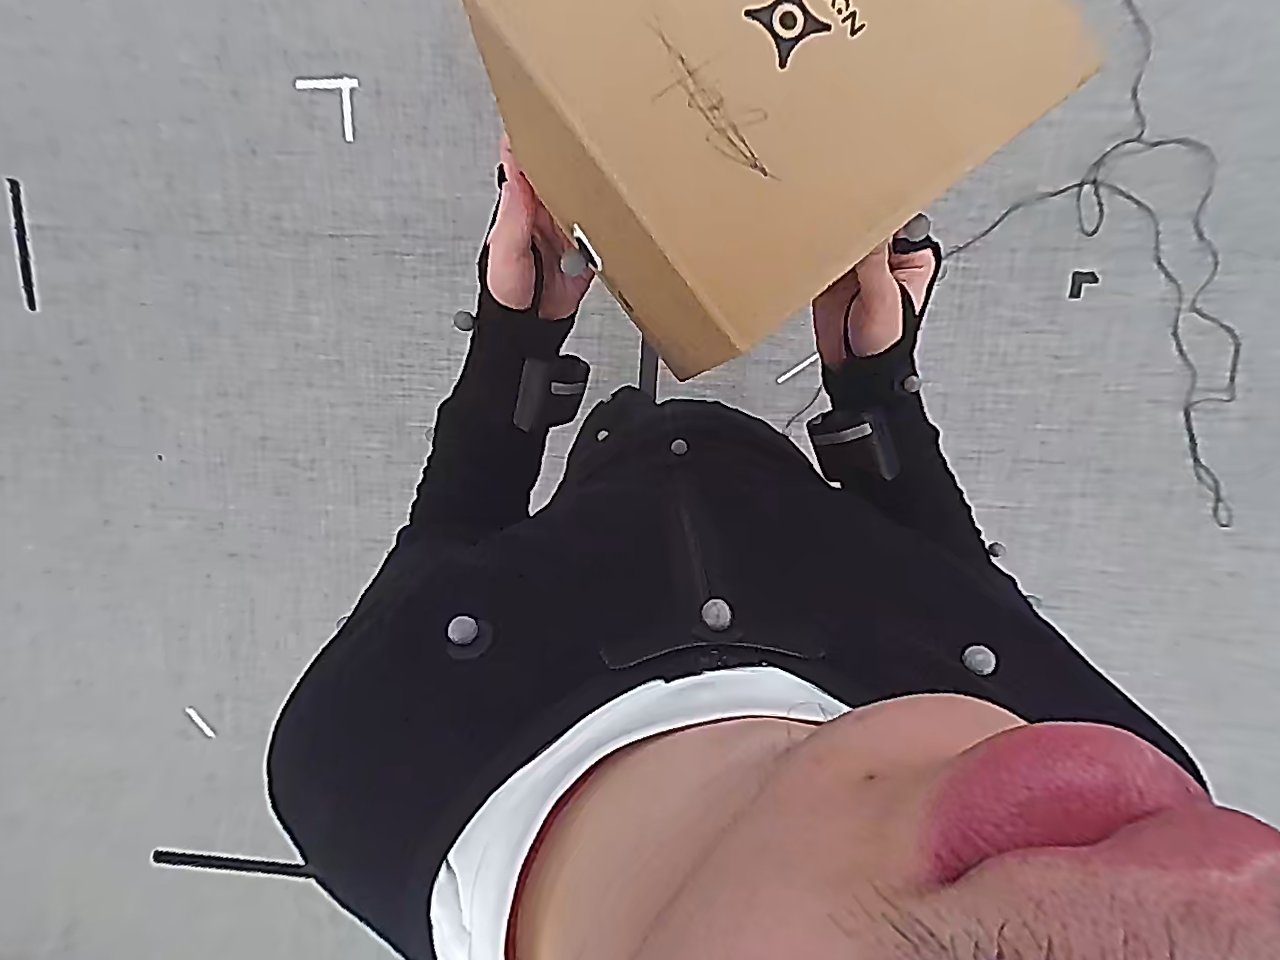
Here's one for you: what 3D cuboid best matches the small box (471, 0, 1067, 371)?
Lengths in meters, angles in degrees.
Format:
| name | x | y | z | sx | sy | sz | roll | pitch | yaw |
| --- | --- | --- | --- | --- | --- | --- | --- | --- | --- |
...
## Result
| name | x | y | z | sx | sy | sz | roll | pitch | yaw |
| --- | --- | --- | --- | --- | --- | --- | --- | --- | --- |
| small box | 0.047 | -0.177 | 0.282 | 0.179 | 0.176 | 0.168 | -40 | 97 | 2 |
